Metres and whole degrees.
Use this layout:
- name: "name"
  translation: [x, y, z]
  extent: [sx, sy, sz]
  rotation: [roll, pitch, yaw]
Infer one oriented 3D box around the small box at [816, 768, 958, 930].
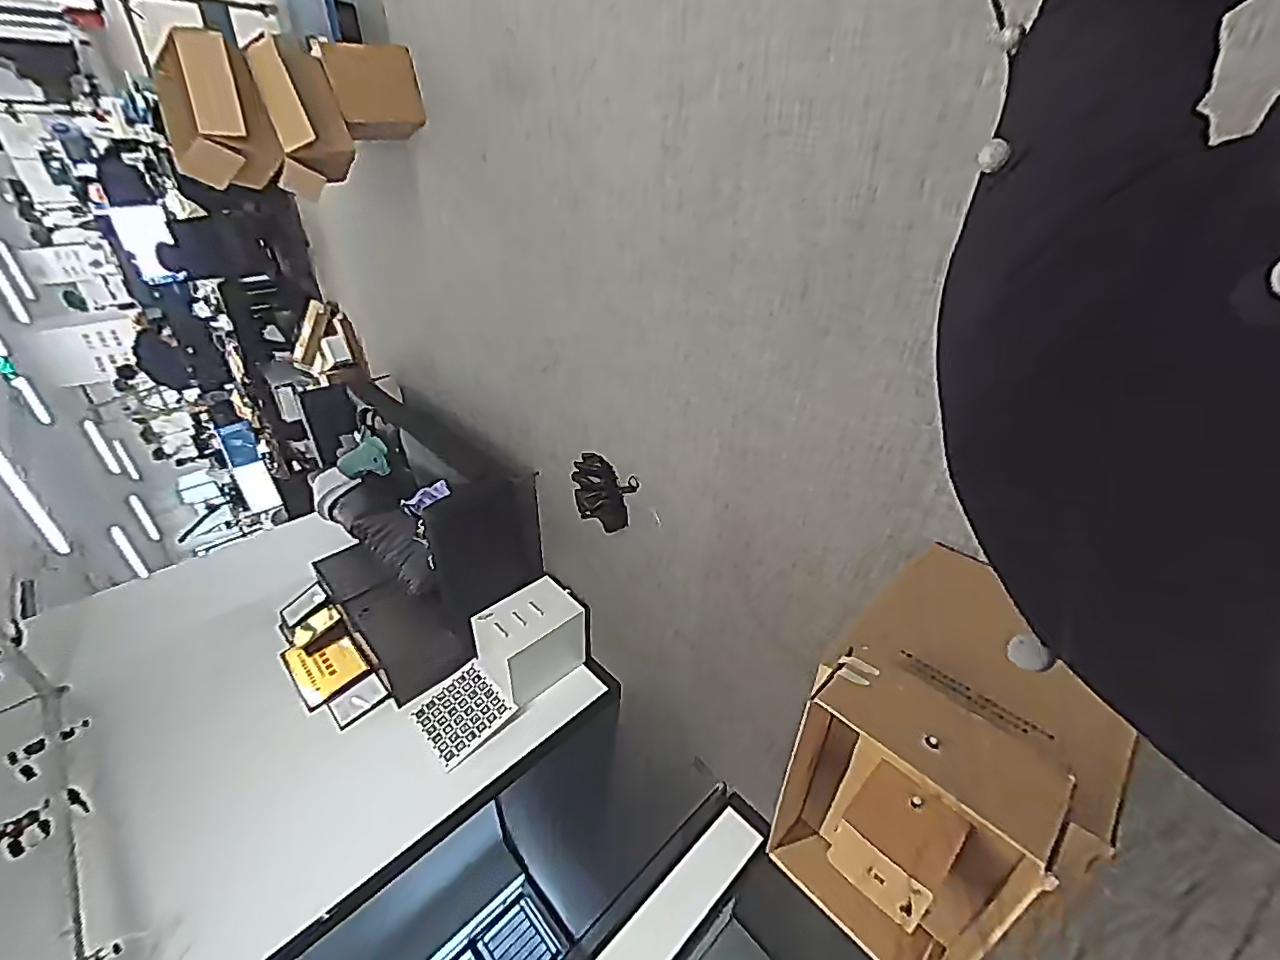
- name: "small box"
  translation: [0.475, 0.698, 1.049]
  extent: [0.179, 0.176, 0.168]
  rotation: [30, 134, 39]
